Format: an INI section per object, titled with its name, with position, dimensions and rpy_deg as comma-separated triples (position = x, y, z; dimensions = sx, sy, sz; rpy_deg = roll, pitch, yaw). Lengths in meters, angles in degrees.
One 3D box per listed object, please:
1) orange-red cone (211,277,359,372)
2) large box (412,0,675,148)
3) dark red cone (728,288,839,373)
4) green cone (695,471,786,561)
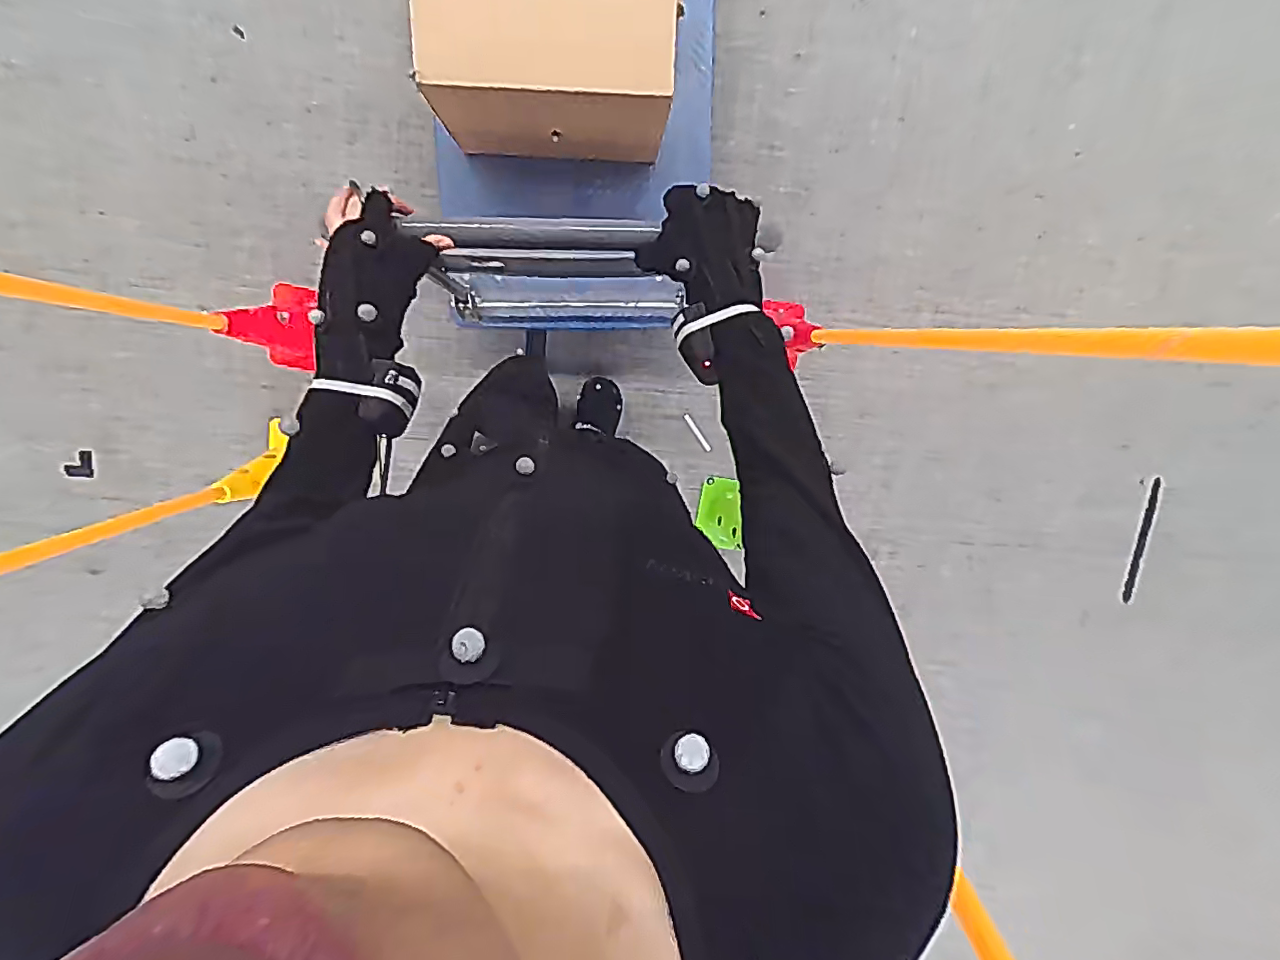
[orange-red cone]
position = -0.789, -0.345, 1.165
dimensions = 0.198, 0.360, 0.199
rpy_deg = 11, 101, -8
[large box]
position = -0.152, -0.807, 0.953
dimensions = 0.408, 0.320, 0.320
rpy_deg = 0, 104, -4
[dark red cone]
position = 0.344, -0.345, 1.228
dimensions = 0.201, 0.394, 0.202
rpy_deg = 4, 103, -7
[green cone]
position = 0.278, 0.121, 1.349
dimensions = 0.202, 0.368, 0.200
rpy_deg = 8, 102, -7
